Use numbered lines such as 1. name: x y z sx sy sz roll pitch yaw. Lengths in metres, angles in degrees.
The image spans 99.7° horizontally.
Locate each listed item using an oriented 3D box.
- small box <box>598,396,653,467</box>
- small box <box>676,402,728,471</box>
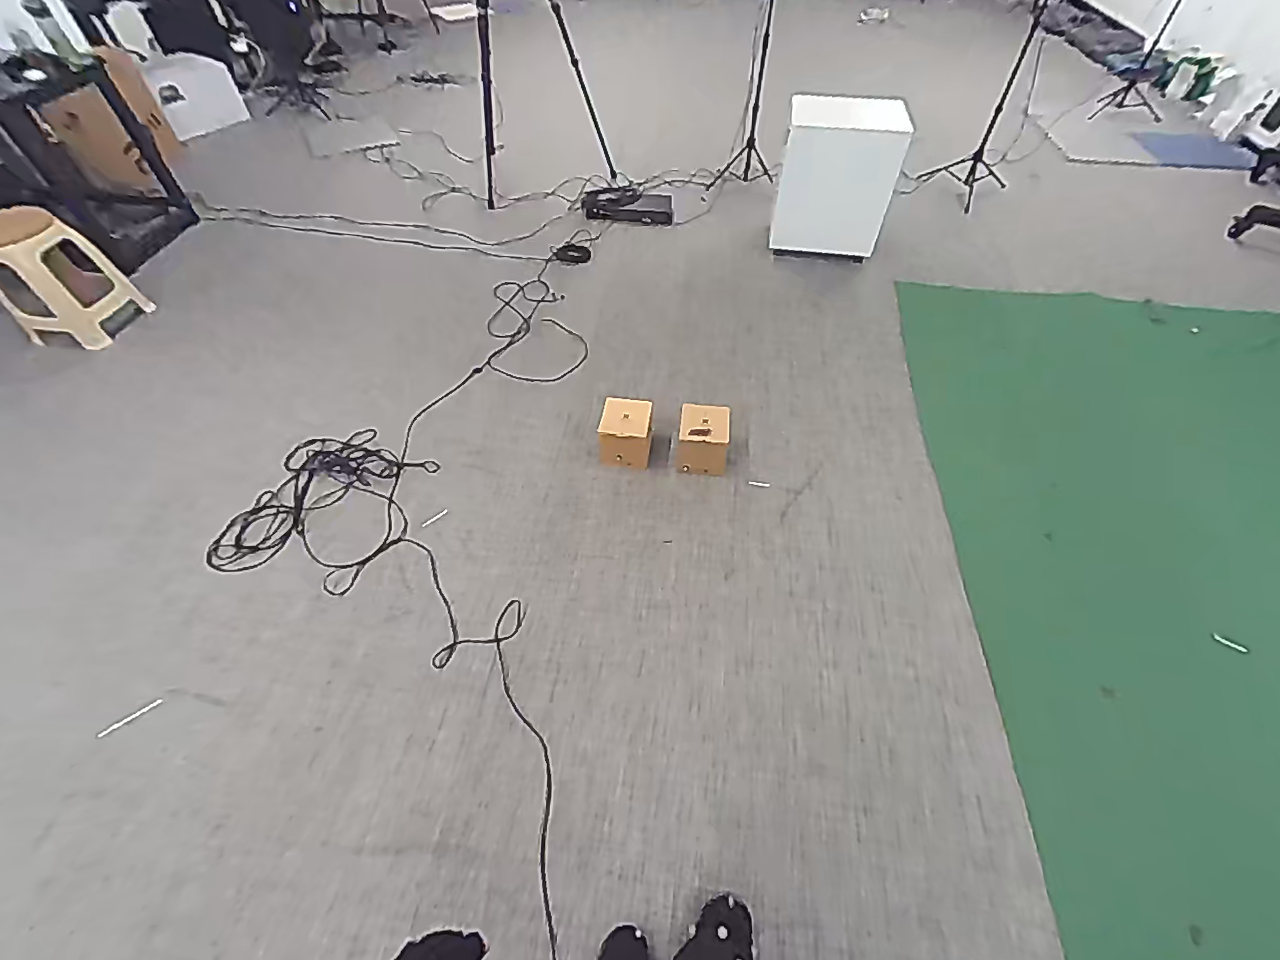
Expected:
1. small box: -0.049 -0.172 1.910 0.168 0.176 0.179 6 52 6
2. small box: 0.215 -0.149 1.887 0.168 0.176 0.179 6 51 5
